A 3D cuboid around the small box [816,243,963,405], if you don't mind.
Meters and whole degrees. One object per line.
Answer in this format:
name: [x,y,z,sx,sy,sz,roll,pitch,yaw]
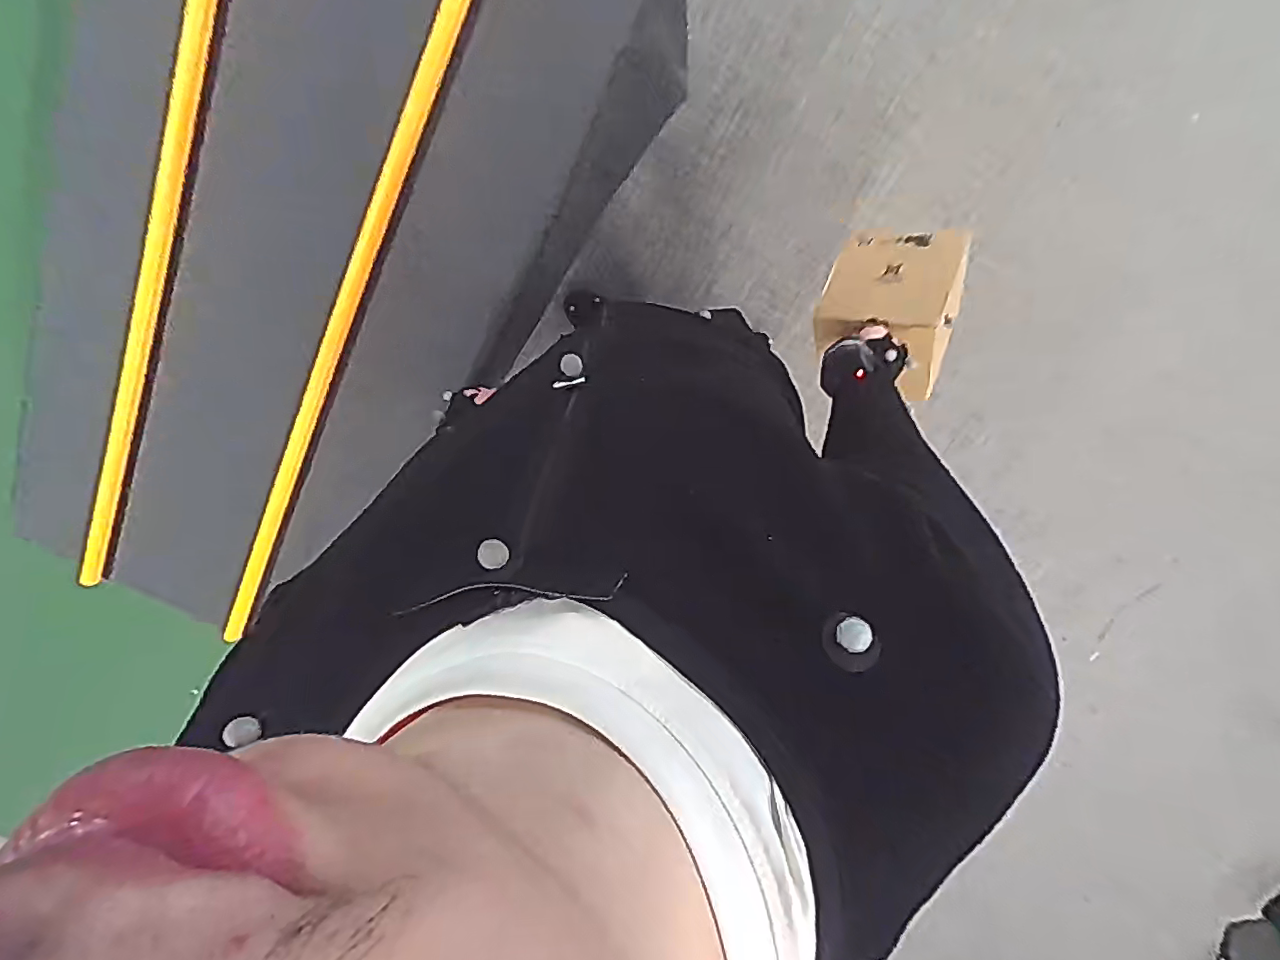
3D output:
small box: [0.388,-0.236,0.839,0.168,0.179,0.176,12,158,31]
